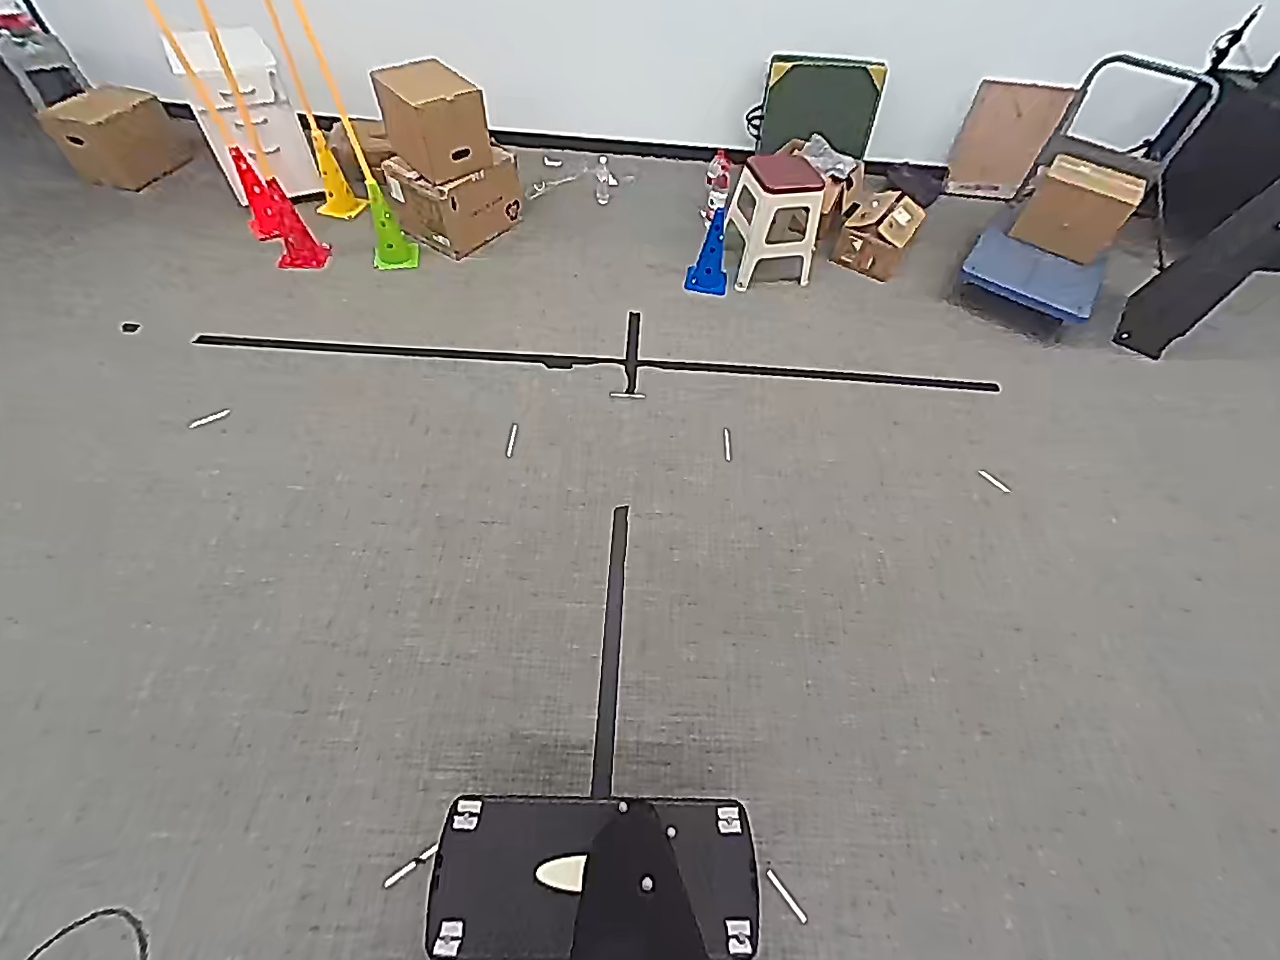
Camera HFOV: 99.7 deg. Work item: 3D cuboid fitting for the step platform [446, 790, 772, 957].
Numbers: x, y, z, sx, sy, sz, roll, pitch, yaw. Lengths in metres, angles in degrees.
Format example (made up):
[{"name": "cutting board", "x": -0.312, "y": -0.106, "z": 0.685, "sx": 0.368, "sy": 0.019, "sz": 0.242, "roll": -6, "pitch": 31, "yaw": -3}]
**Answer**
[{"name": "step platform", "x": -0.061, "y": 0.851, "z": 1.187, "sx": 0.684, "sy": 0.204, "sz": 0.286, "roll": 3, "pitch": 54, "yaw": -4}]
